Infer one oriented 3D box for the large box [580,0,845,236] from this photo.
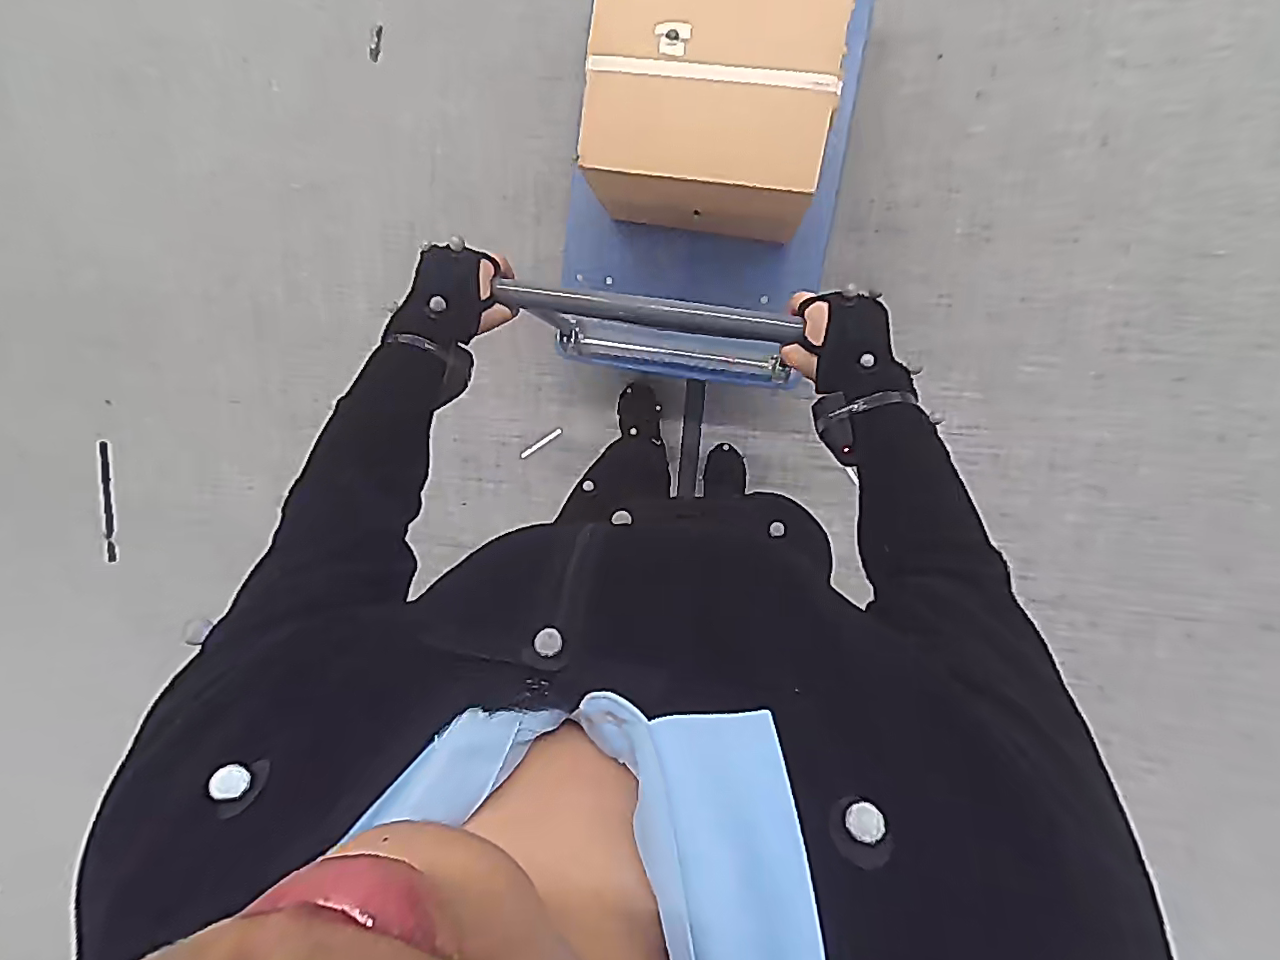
[{"bbox_3d":[0.133,-0.680,1.031,0.408,0.320,0.320,10,100,7],"label":"large box"}]
